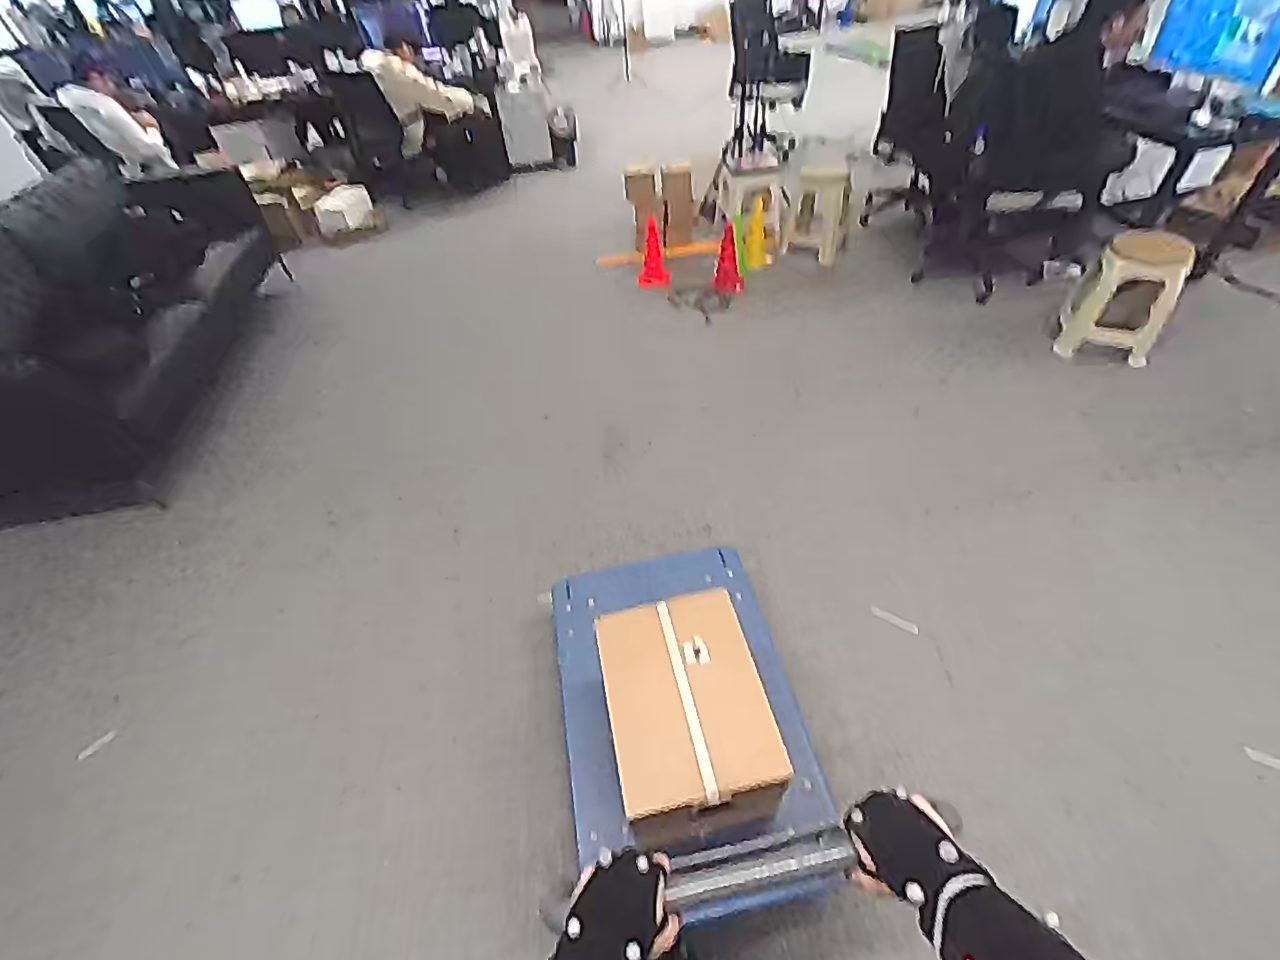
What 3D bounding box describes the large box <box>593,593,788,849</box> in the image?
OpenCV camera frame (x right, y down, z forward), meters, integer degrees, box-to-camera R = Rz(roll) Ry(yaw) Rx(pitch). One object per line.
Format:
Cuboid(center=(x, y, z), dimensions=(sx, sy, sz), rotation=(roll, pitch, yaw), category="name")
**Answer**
Cuboid(center=(0.099, 0.532, 1.214), dimensions=(0.320, 0.320, 0.408), rotation=(-12, 47, -5), category="large box")
